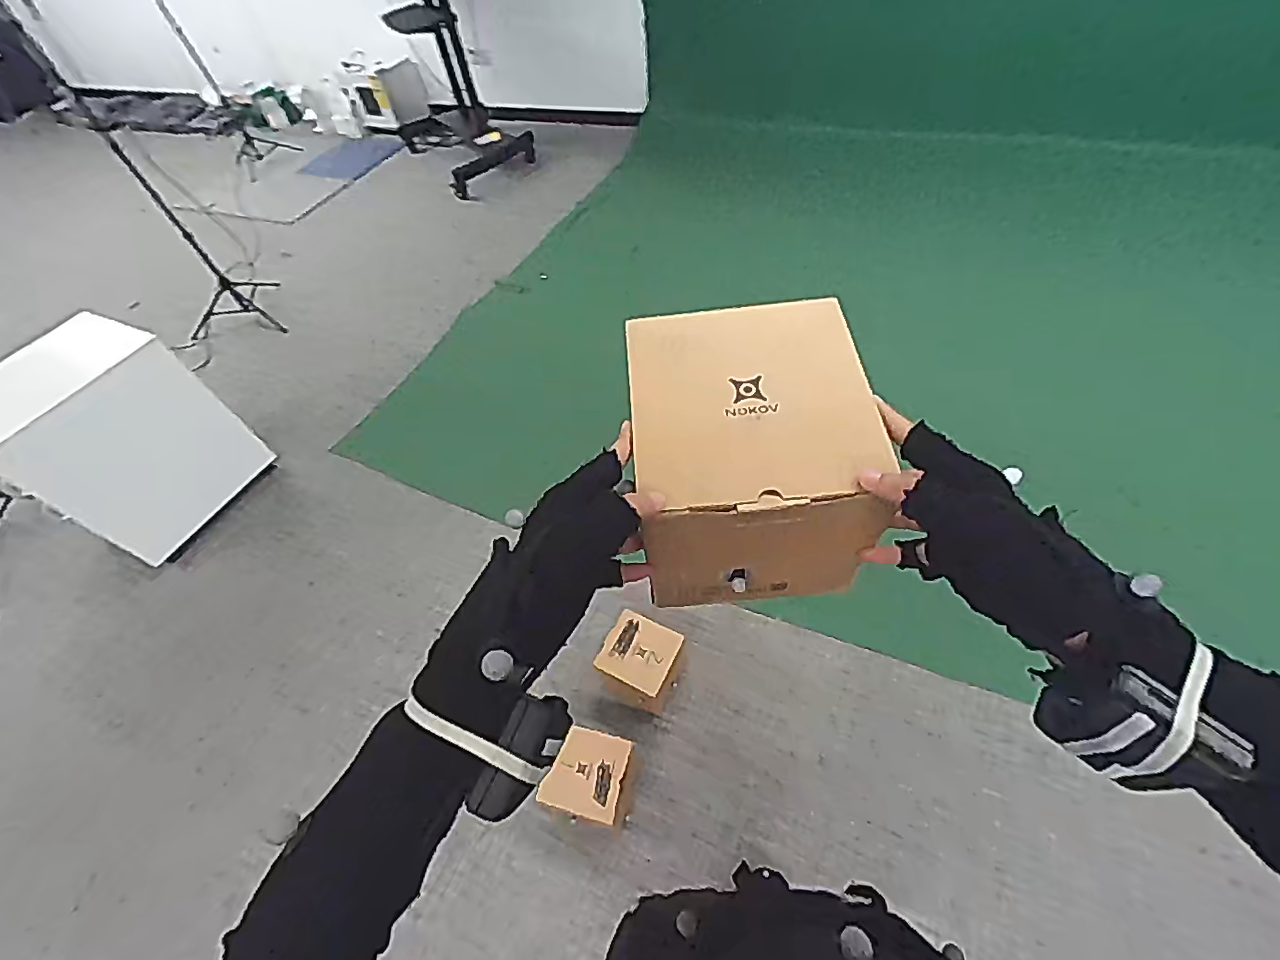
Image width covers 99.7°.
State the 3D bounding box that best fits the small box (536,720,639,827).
[{"bbox_3d":[-0.109,0.672,1.232,0.179,0.176,0.168,9,54,15],"label":"small box"}]
